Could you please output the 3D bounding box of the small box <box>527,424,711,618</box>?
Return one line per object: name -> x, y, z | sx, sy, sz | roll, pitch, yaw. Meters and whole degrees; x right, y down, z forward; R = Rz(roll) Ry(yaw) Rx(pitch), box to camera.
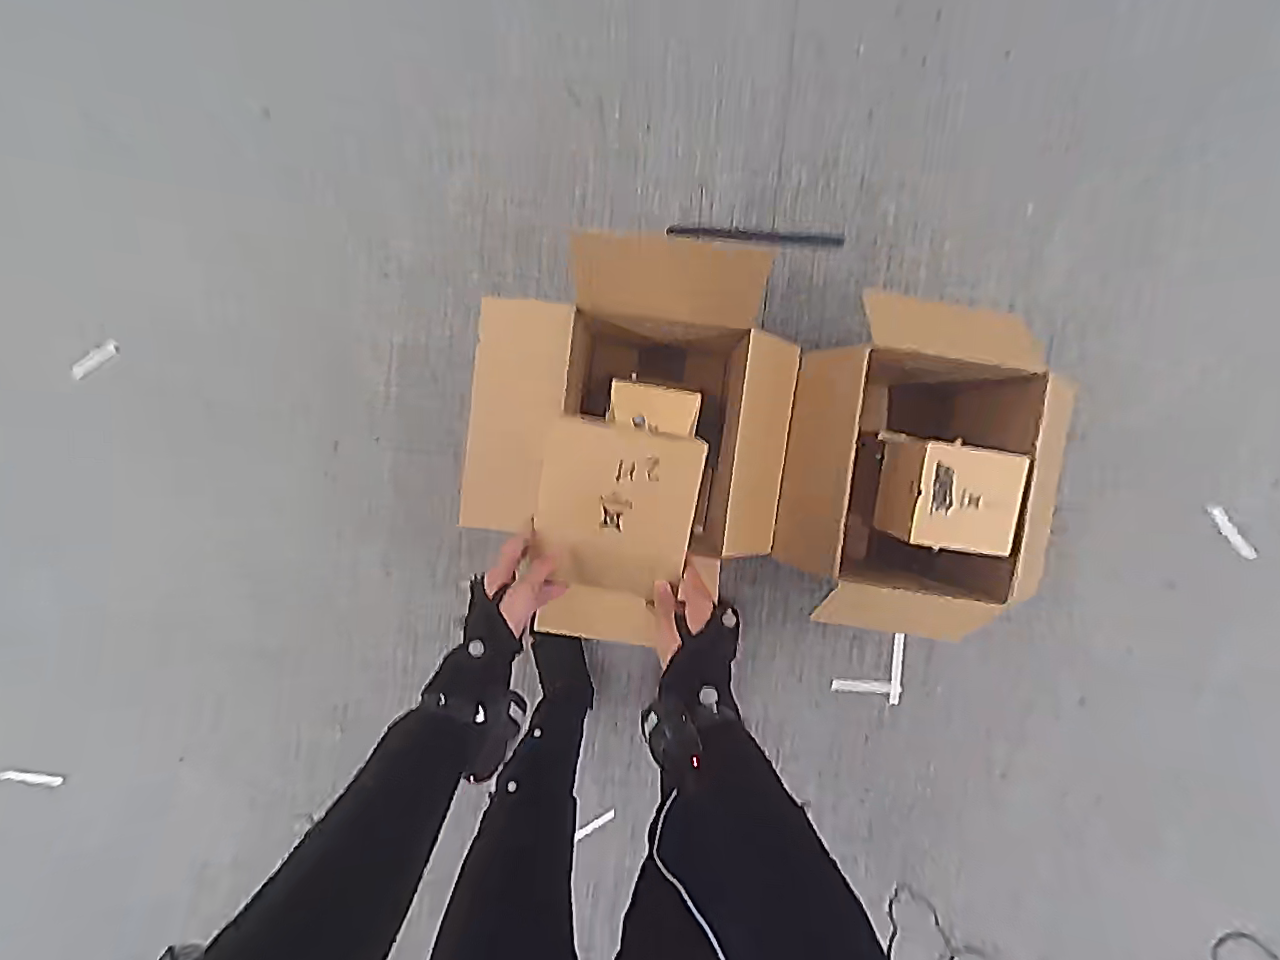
small box -> -0.019, 0.035, 0.632 | 0.168, 0.176, 0.179 | 12, 96, 2
